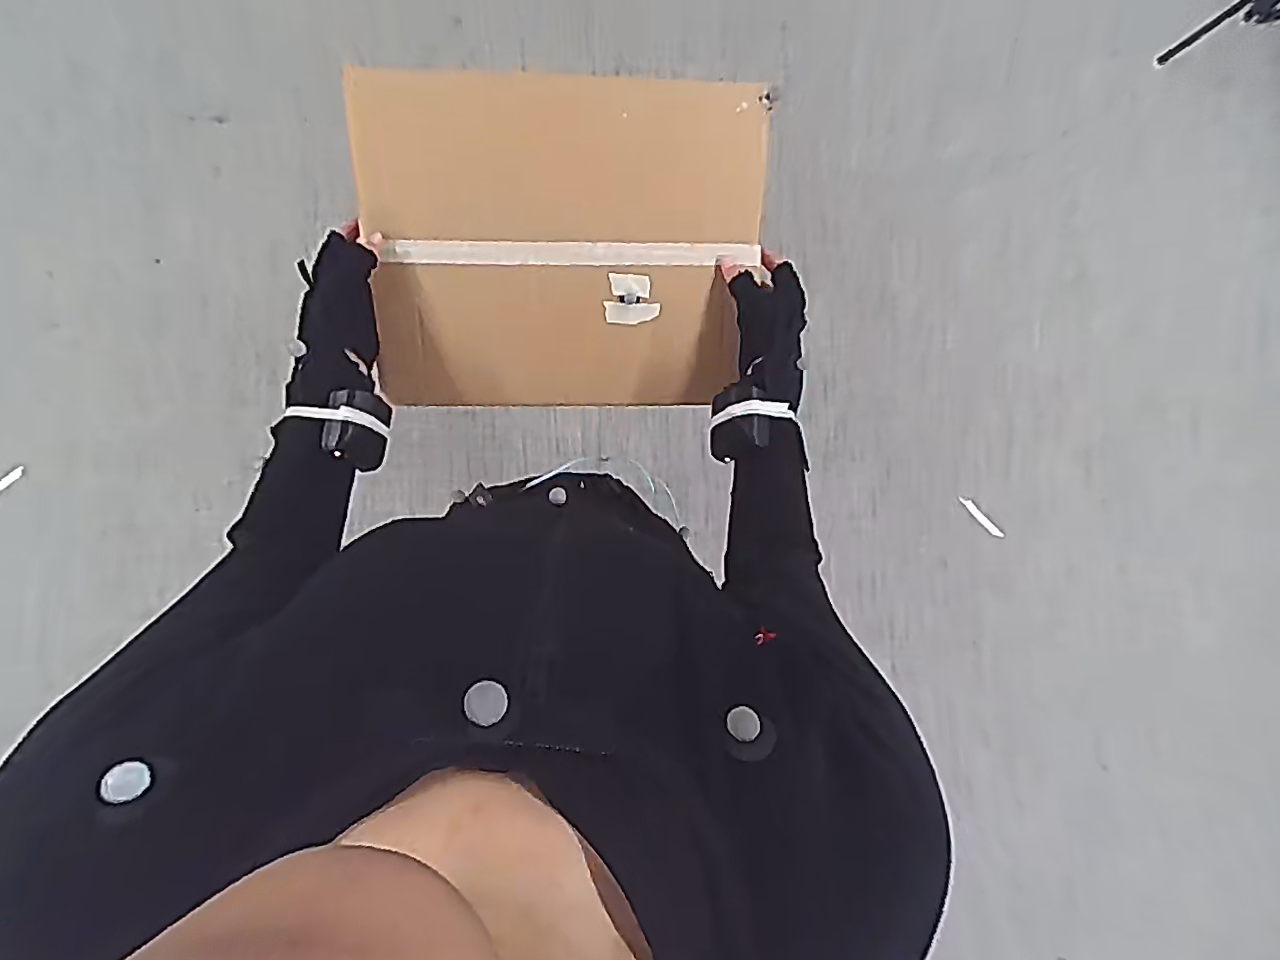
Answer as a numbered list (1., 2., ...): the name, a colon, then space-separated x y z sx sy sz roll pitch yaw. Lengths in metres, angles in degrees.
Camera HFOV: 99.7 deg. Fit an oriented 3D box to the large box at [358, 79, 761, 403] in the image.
1. large box: -0.087 -0.277 0.712 0.408 0.320 0.320 -1 106 -4
